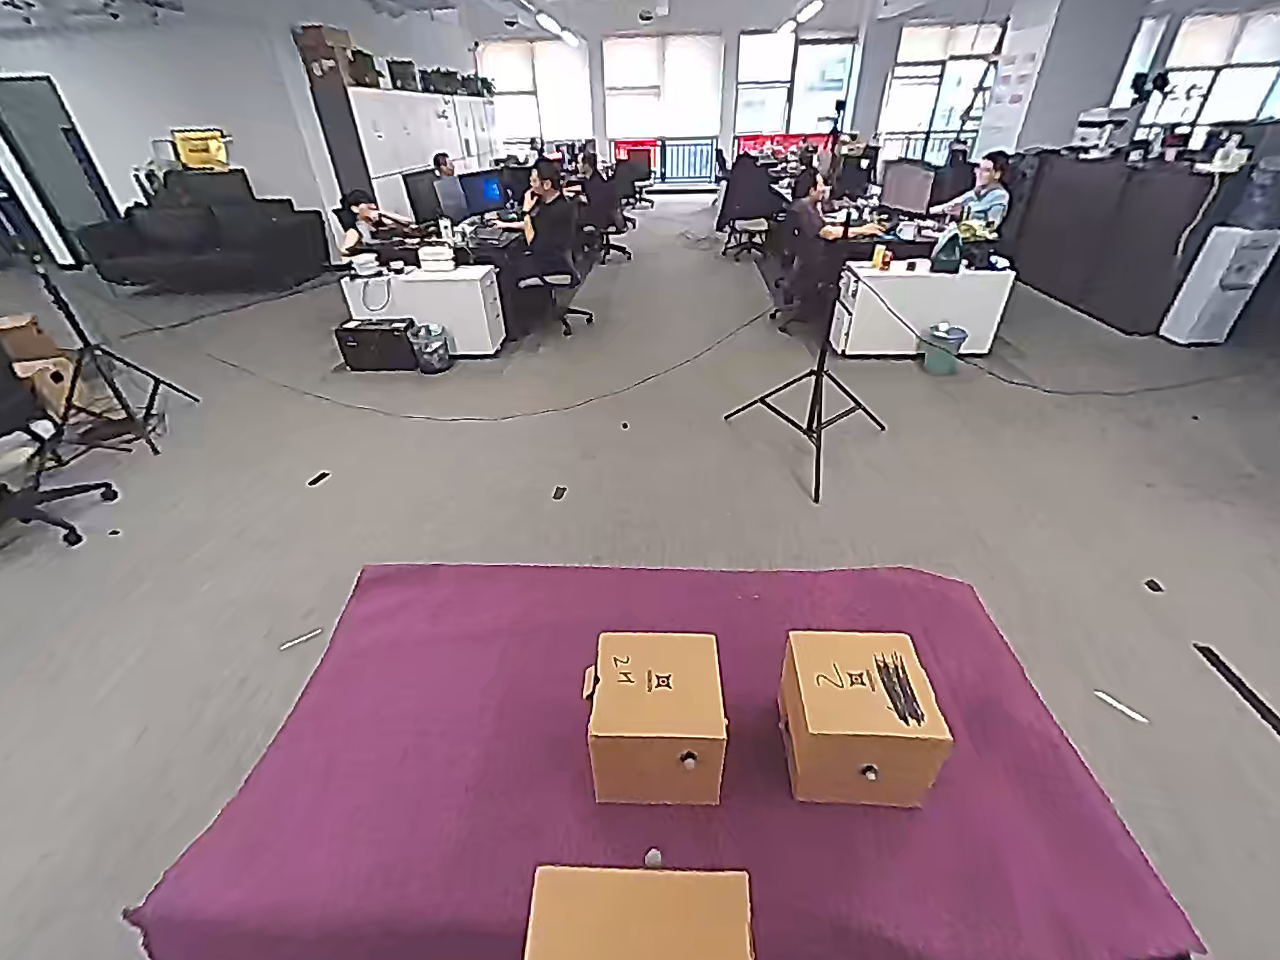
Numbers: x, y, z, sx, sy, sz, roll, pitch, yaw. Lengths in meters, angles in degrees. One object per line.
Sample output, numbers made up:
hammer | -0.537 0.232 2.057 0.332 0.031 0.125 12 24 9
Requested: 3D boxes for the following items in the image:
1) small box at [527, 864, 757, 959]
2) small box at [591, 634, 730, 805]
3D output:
small box | 0.008 0.430 0.446 0.179 0.176 0.168 -3 48 5
small box | 0.029 0.345 0.783 0.179 0.176 0.168 -1 33 2
